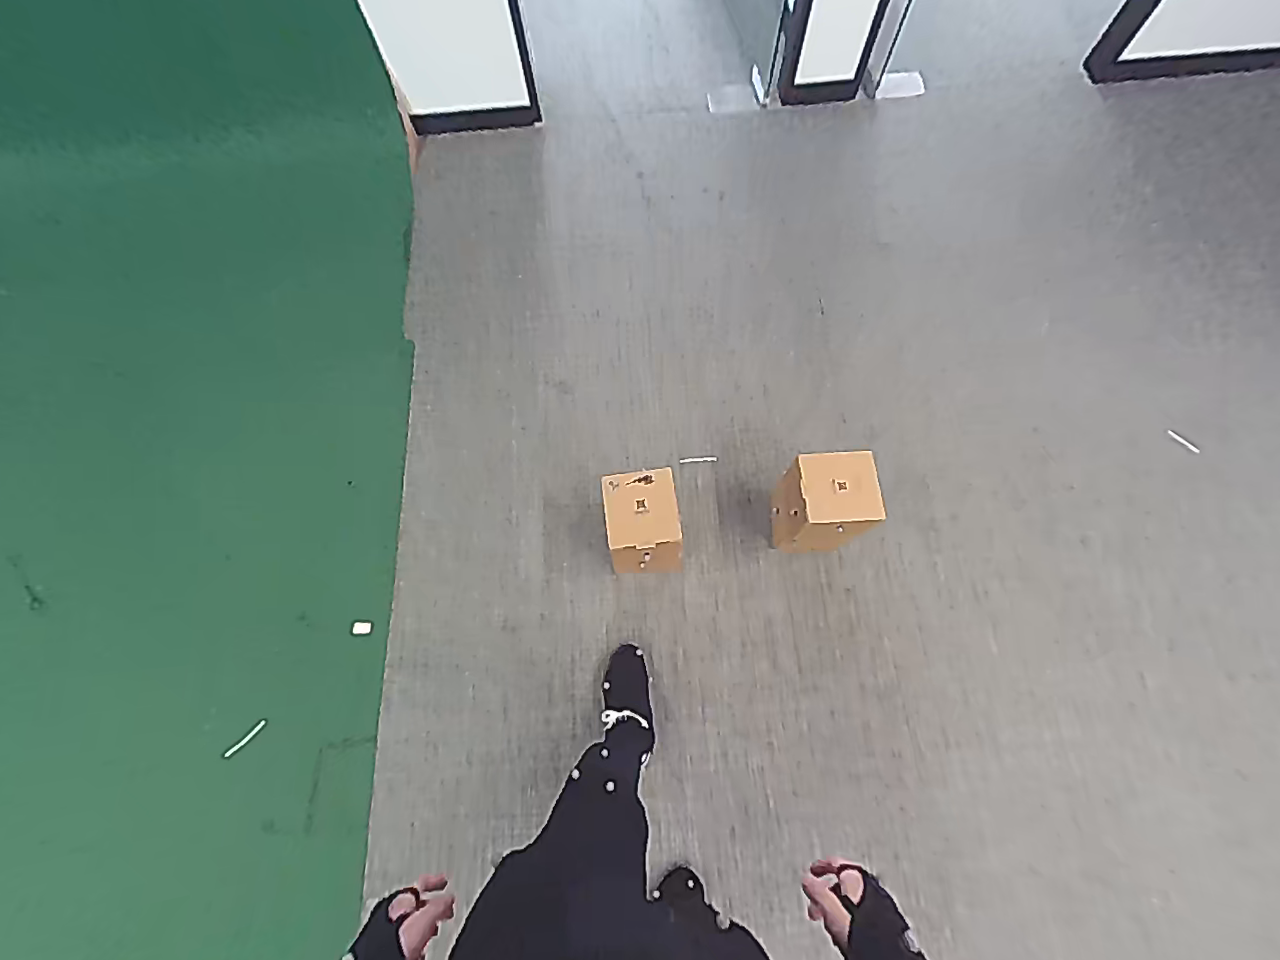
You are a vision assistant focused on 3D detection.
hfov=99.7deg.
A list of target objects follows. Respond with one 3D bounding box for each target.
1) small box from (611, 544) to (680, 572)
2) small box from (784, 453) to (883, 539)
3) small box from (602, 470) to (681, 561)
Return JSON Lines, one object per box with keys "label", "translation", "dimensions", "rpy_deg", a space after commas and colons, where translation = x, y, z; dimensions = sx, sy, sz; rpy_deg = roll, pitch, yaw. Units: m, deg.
{"label": "small box", "translation": [0.011, 0.148, 1.446], "dimensions": [0.179, 0.176, 0.168], "rpy_deg": [-4, 70, -1]}
{"label": "small box", "translation": [0.452, 0.043, 1.299], "dimensions": [0.179, 0.176, 0.168], "rpy_deg": [-3, 71, -1]}
{"label": "small box", "translation": [0.004, 0.092, 1.292], "dimensions": [0.168, 0.176, 0.179], "rpy_deg": [-7, 71, -2]}
